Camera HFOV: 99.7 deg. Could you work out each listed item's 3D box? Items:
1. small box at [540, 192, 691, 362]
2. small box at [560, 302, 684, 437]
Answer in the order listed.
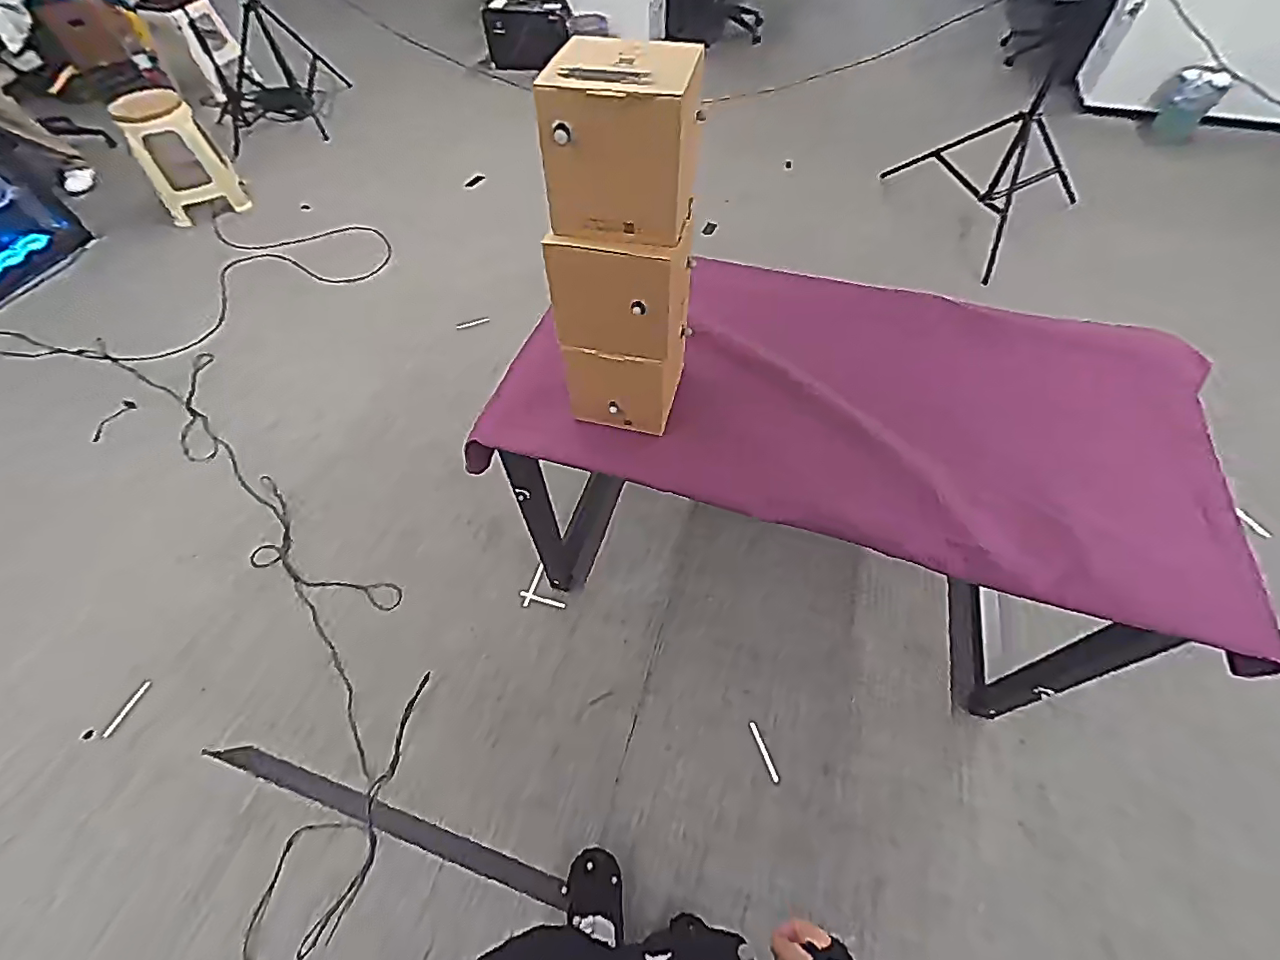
[{"bbox_3d":[-0.028,-0.297,0.804,0.179,0.176,0.168,10,54,9],"label":"small box"},{"bbox_3d":[-0.025,-0.203,0.936,0.168,0.176,0.179,11,56,9],"label":"small box"}]
